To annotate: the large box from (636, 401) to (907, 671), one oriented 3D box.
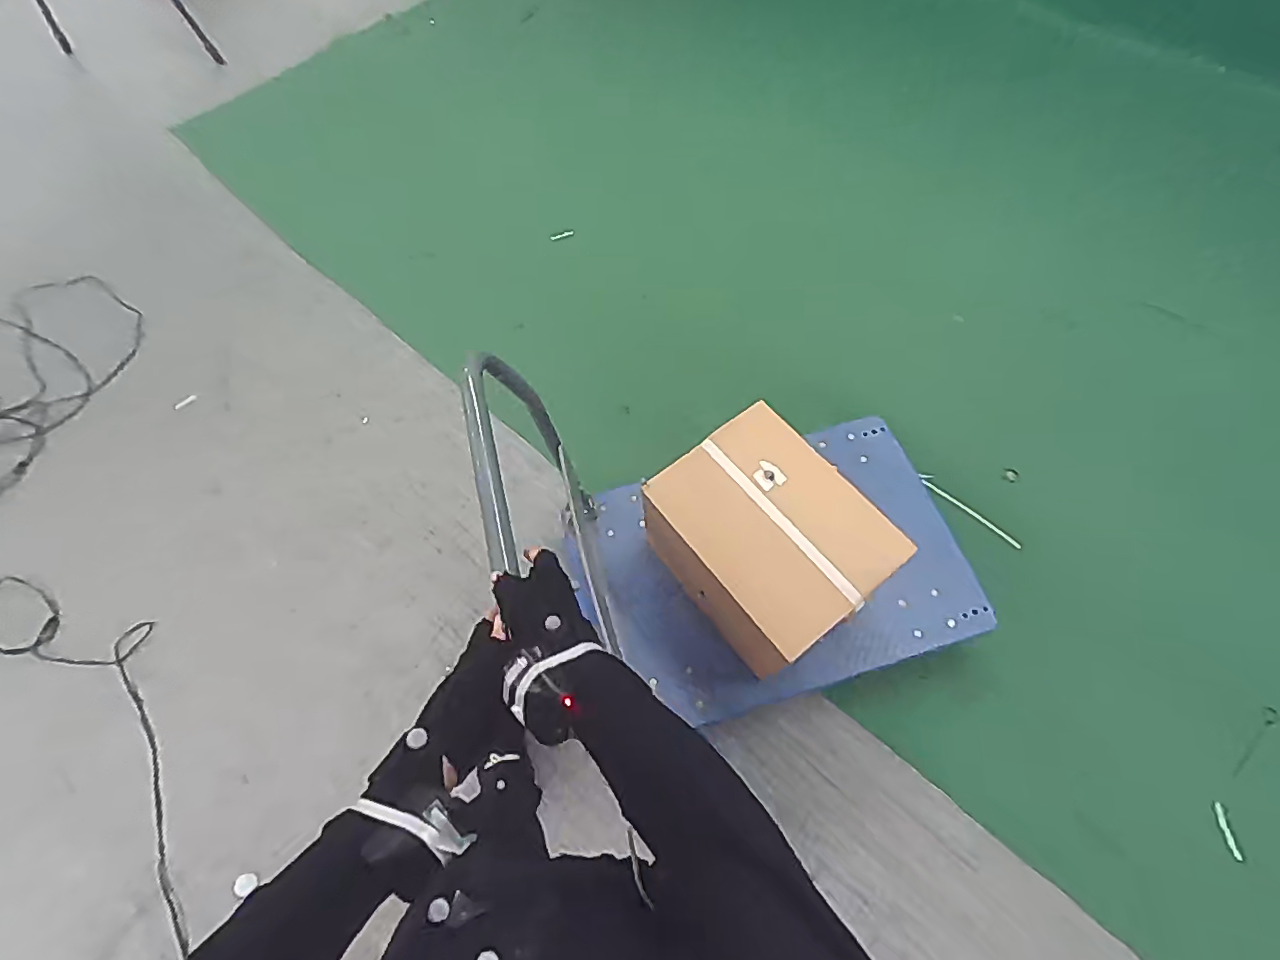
[{"bbox_3d":[0.241,0.125,1.119,0.320,0.320,0.408,-34,67,-13],"label":"large box"}]
